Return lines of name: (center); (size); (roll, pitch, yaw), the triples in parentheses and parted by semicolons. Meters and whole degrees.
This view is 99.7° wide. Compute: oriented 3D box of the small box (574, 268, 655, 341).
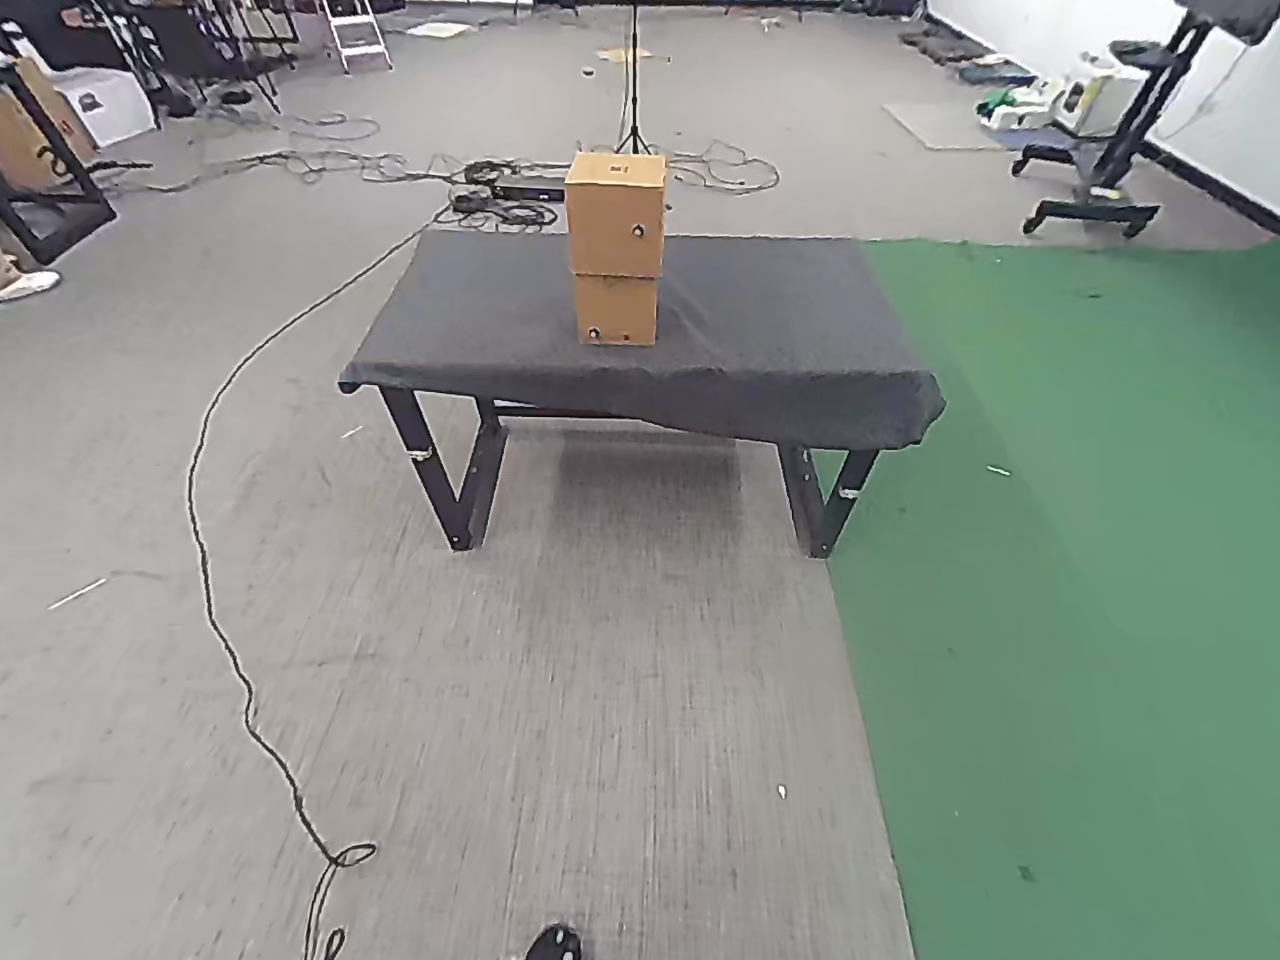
small box: (-0.050, -0.418, 1.182); (0.168, 0.176, 0.179); (-1, 50, -1)

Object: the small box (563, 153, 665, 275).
small box: (-0.044, -0.513, 1.050); (0.179, 0.176, 0.168); (2, 47, 3)
